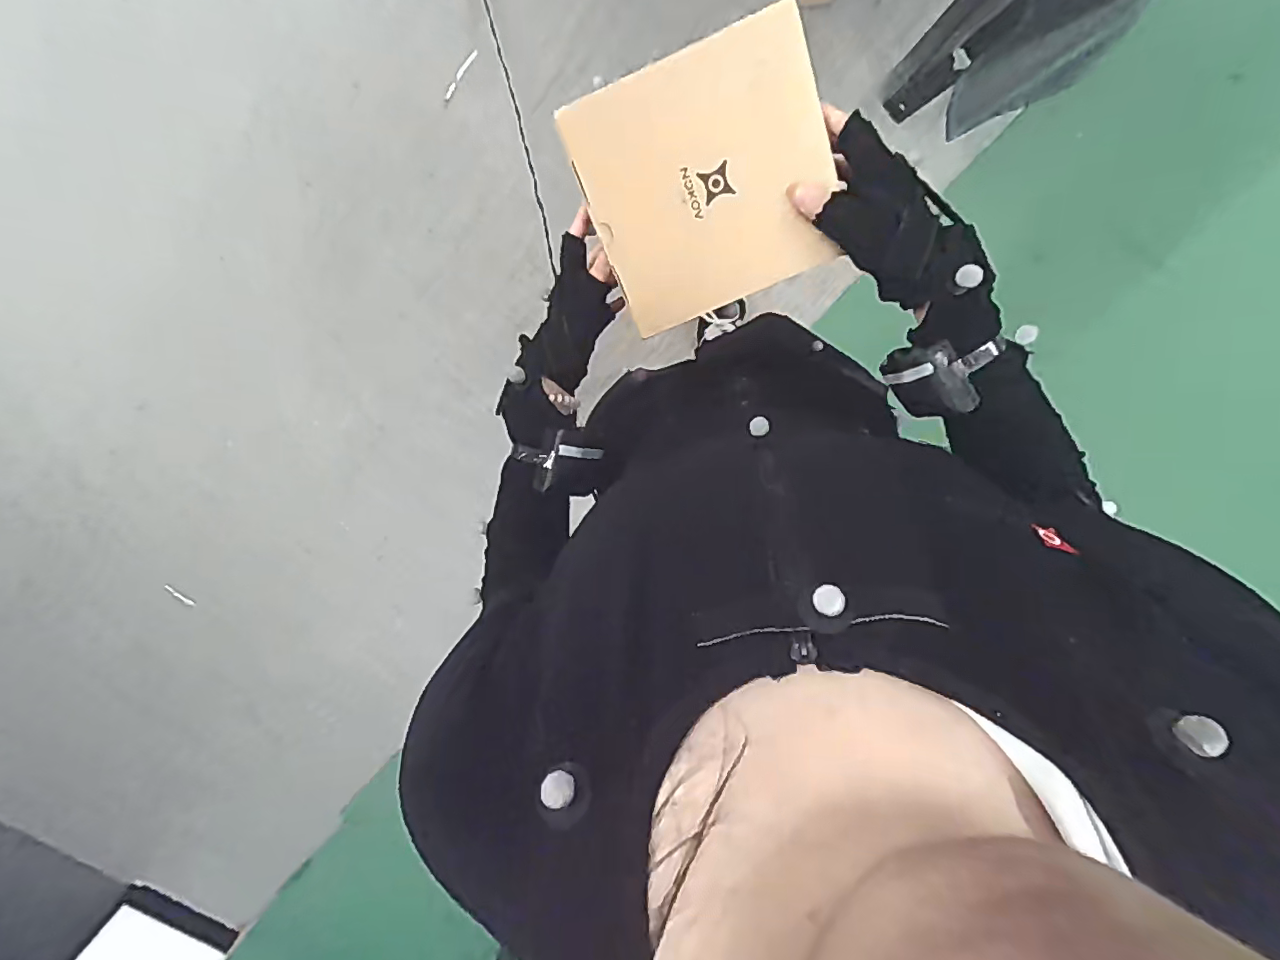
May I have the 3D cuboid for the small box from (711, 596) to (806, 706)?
[{"bbox_3d":[0.303,0.445,1.421,0.168,0.176,0.179,41,107,-12],"label":"small box"}]
